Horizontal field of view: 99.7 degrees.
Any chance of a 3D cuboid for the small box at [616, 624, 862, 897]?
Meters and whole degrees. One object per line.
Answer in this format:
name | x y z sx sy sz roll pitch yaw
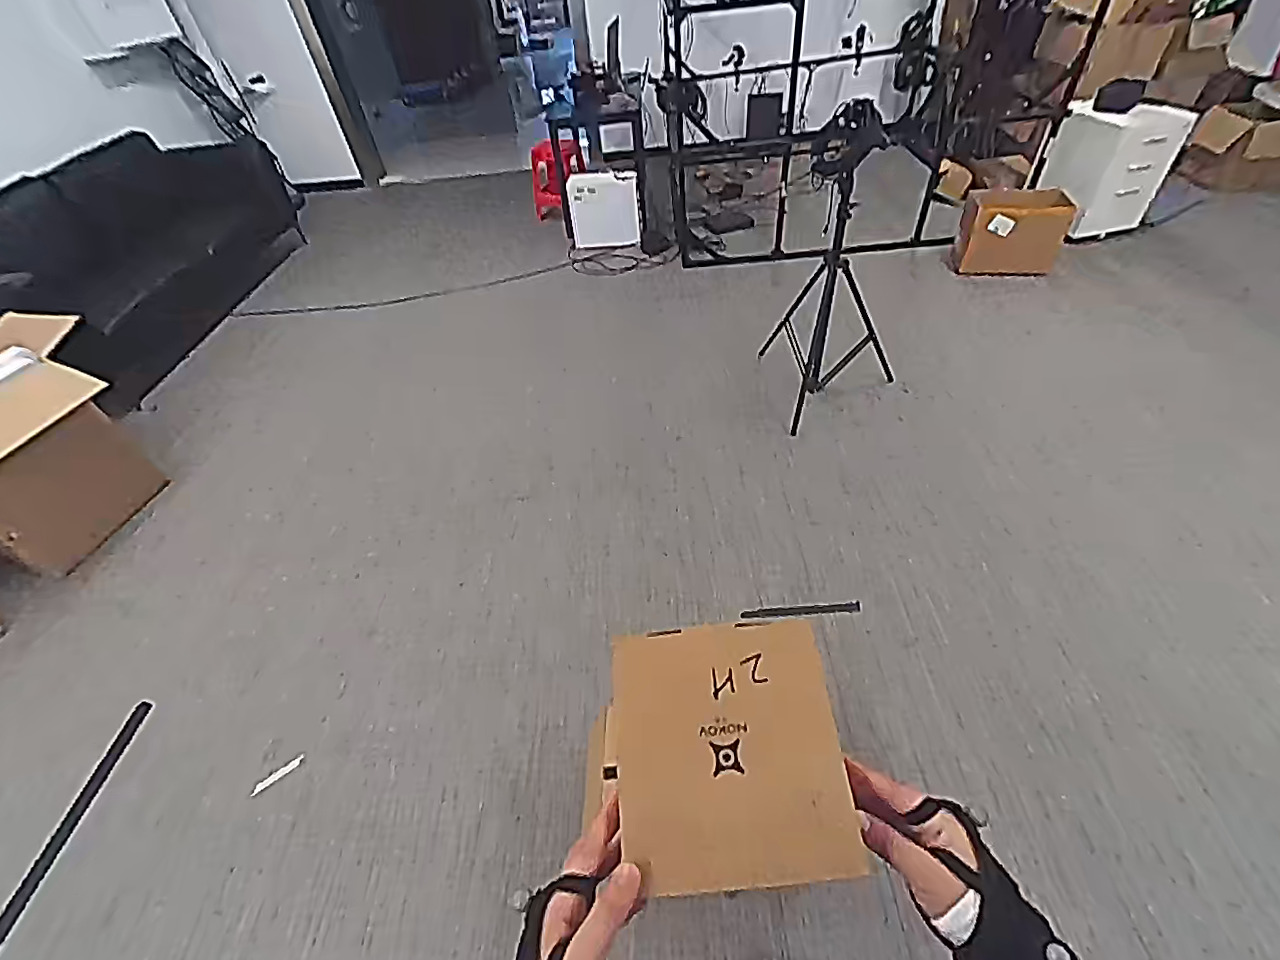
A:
small box | 0.071 0.241 0.478 0.168 0.176 0.179 -5 59 0
